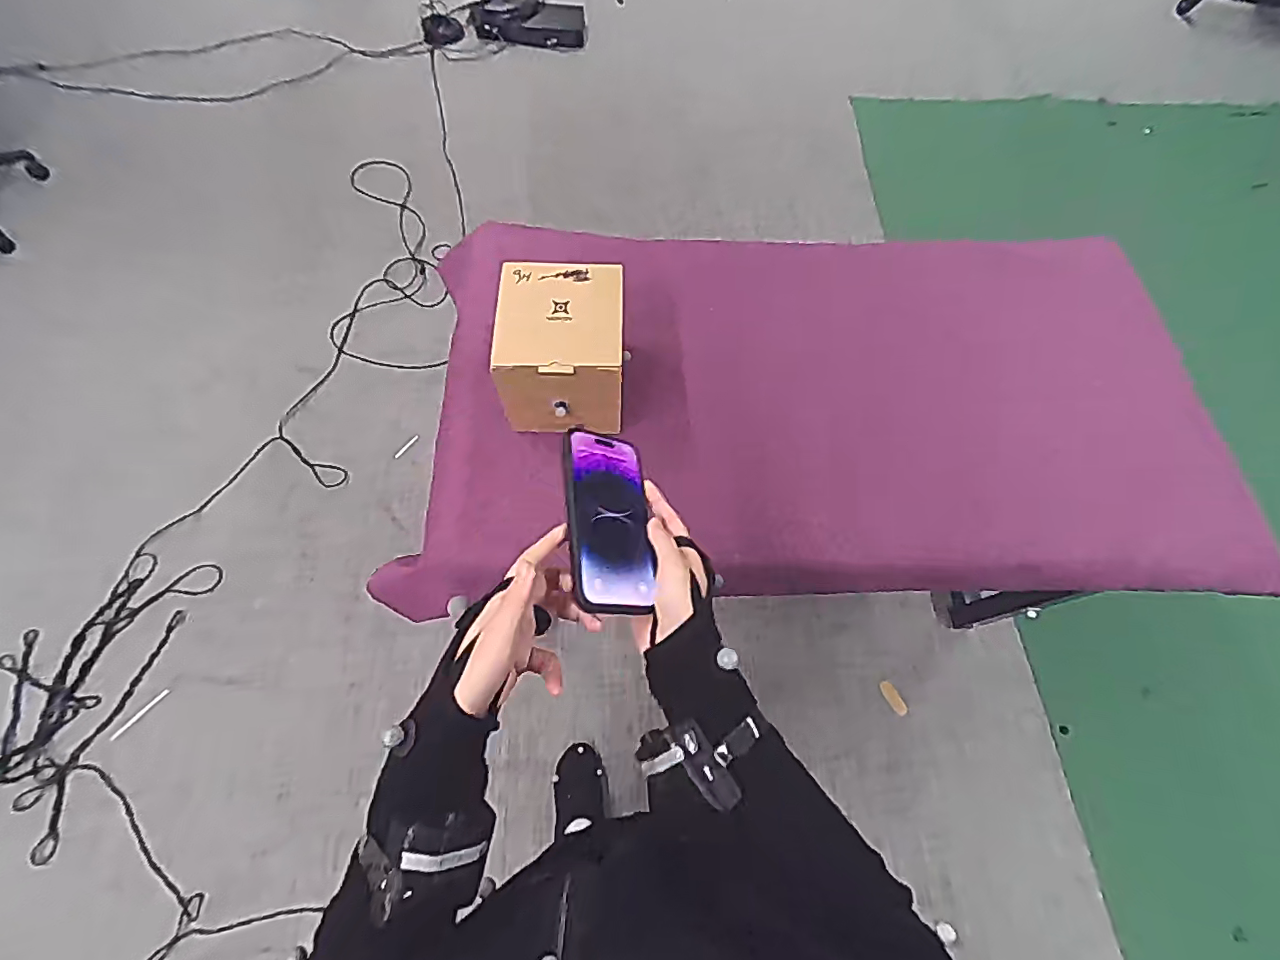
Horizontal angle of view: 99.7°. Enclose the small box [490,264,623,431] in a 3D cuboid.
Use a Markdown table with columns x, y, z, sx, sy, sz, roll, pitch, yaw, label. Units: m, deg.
| x | y | z | sx | sy | sz | roll | pitch | yaw | label |
| --- | --- | --- | --- | --- | --- | --- | --- | --- | --- |
| -0.109 | -0.183 | 0.782 | 0.168 | 0.176 | 0.179 | 1 | 66 | -2 | small box |
